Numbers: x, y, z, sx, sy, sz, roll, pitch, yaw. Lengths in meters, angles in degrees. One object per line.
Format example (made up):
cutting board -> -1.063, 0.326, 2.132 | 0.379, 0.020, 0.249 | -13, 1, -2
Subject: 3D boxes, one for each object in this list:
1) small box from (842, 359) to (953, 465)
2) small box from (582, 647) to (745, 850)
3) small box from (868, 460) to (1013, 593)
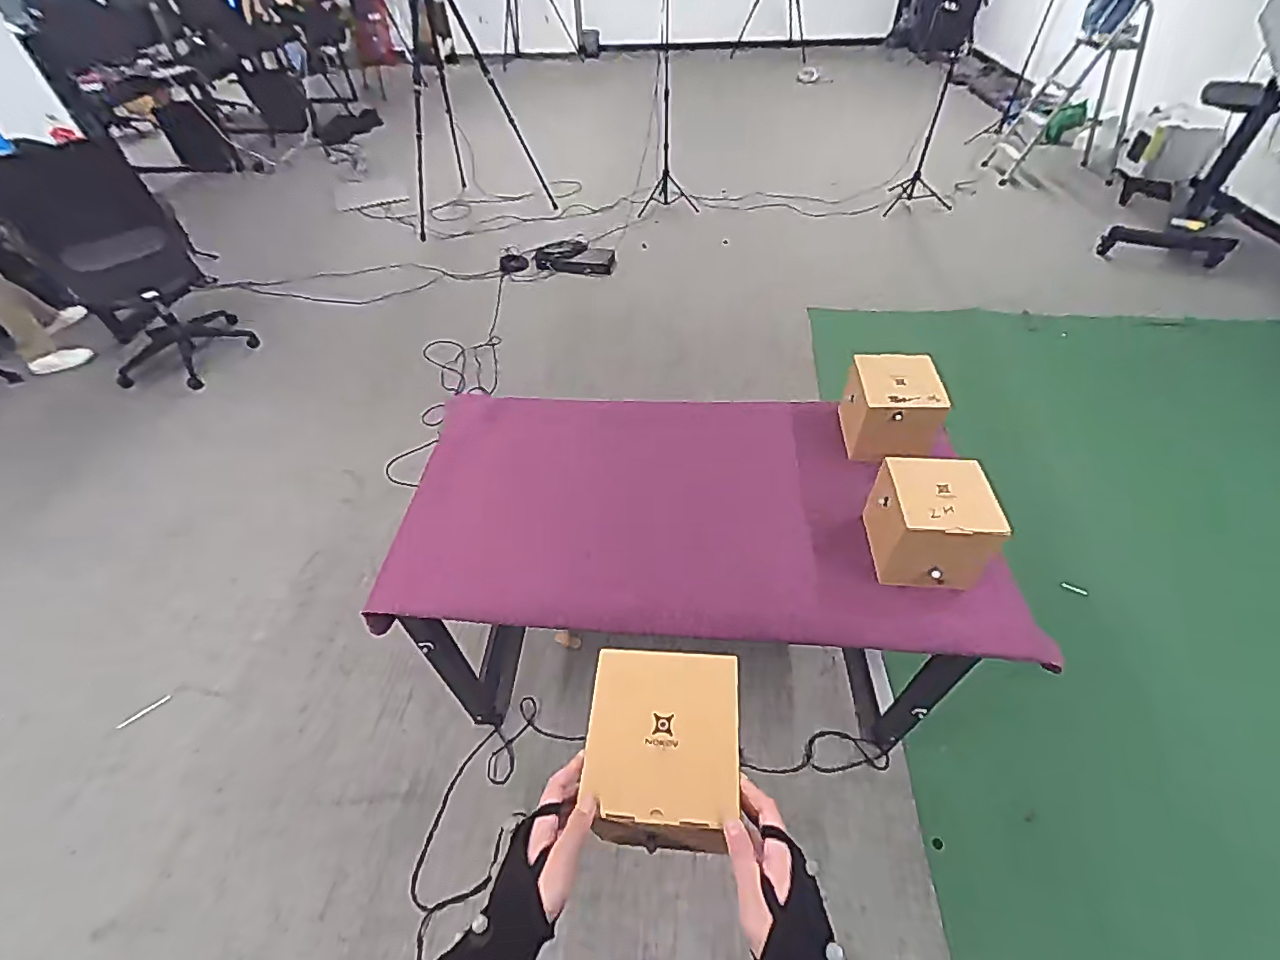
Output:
small box -> 0.564, -0.152, 1.213 | 0.168, 0.176, 0.179 | 1, 49, 6
small box -> 0.035, 0.321, 0.648 | 0.168, 0.176, 0.179 | 1, 50, 7
small box -> 0.536, 0.085, 0.997 | 0.168, 0.176, 0.179 | 3, 46, 7
